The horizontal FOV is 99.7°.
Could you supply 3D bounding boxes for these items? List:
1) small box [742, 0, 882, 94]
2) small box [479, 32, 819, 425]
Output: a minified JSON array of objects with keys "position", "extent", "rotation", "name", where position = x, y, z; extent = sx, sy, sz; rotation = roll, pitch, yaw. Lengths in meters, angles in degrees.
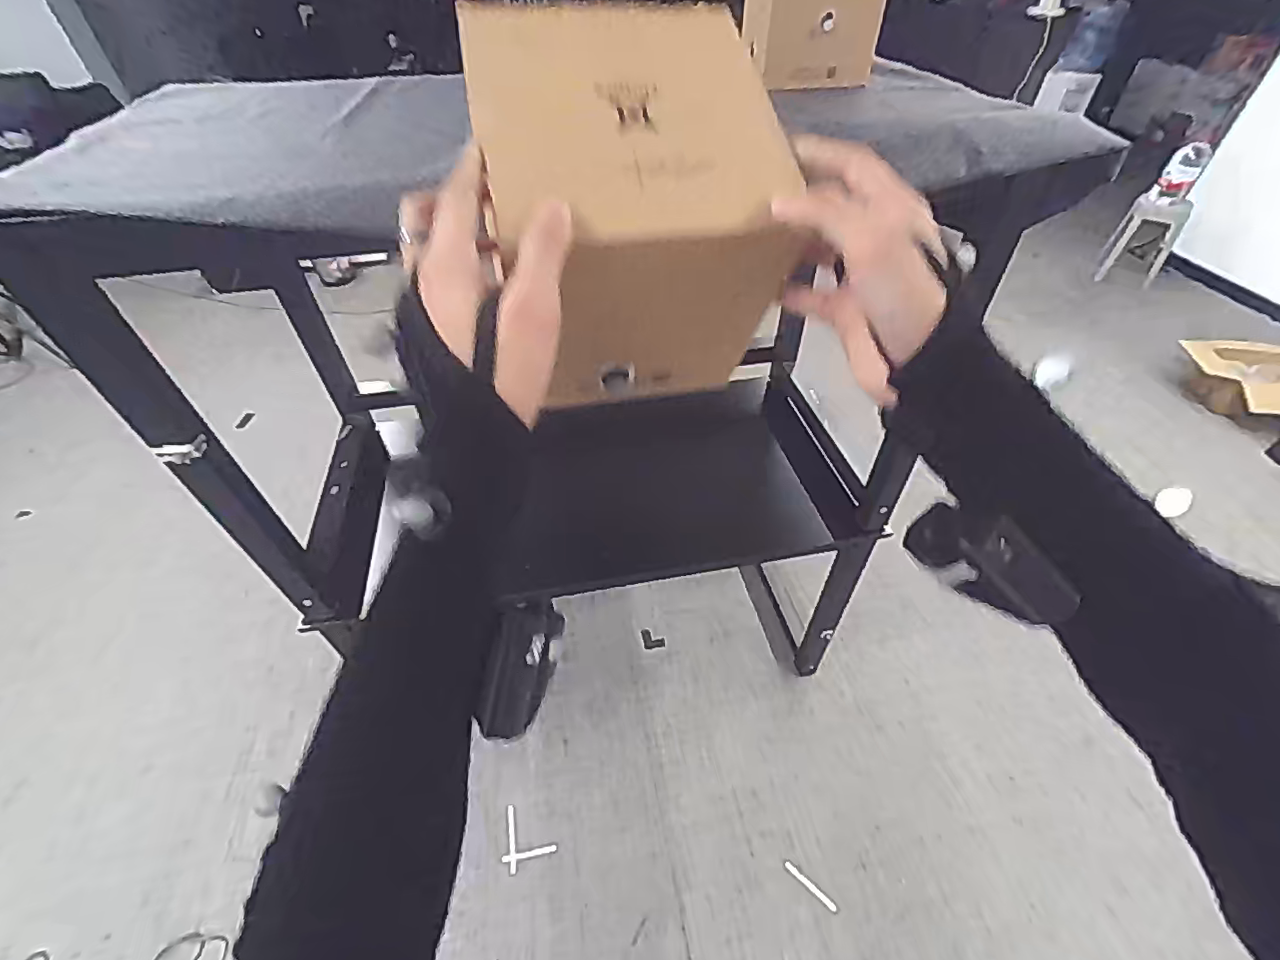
[{"position":[0.259,-0.709,0.829],"extent":[0.168,0.176,0.179],"rotation":[-4,47,-2],"name":"small box"},{"position":[-0.012,-0.160,0.374],"extent":[0.168,0.176,0.179],"rotation":[-9,70,-13],"name":"small box"}]
